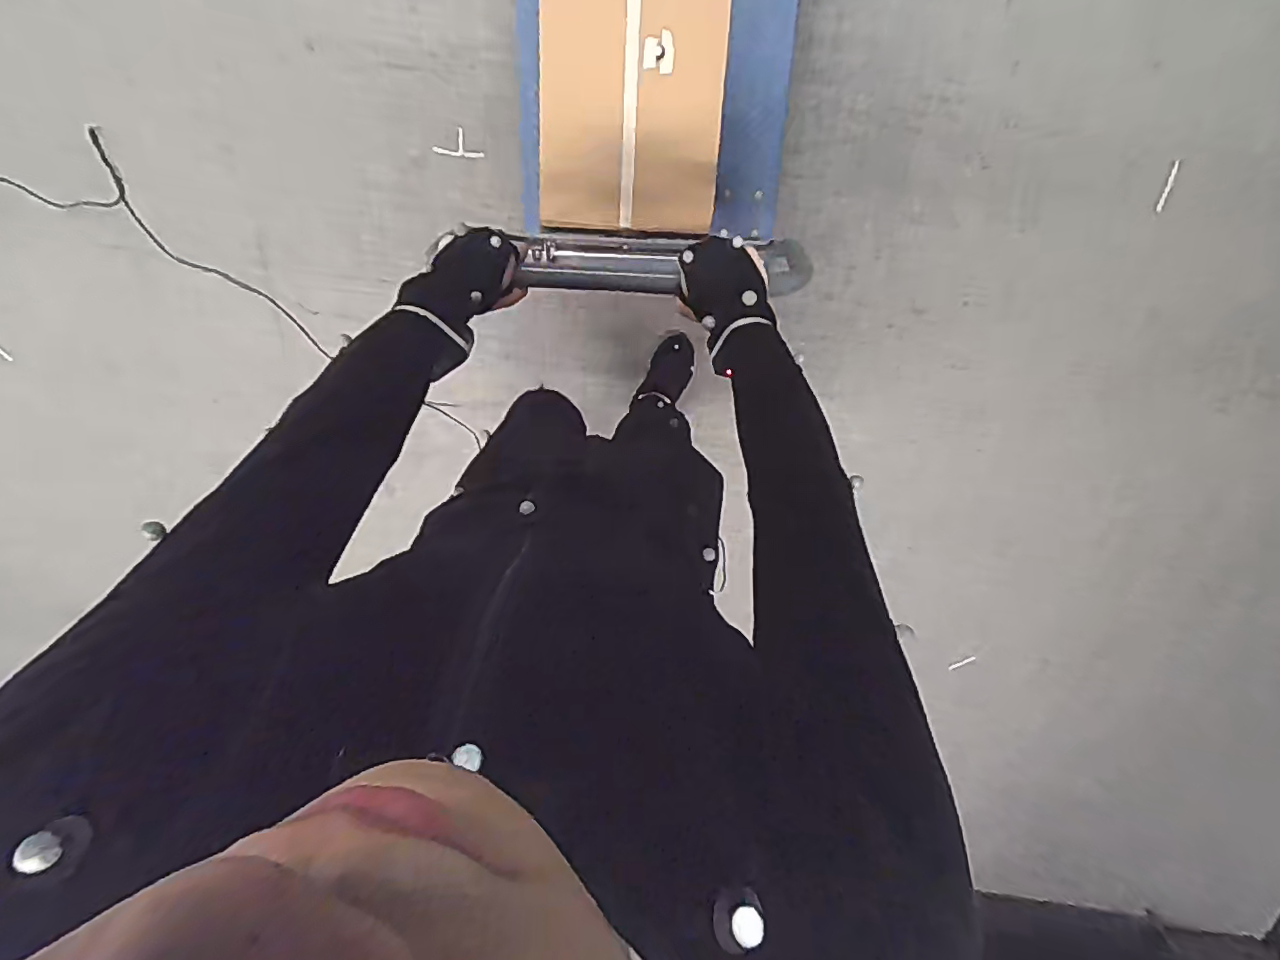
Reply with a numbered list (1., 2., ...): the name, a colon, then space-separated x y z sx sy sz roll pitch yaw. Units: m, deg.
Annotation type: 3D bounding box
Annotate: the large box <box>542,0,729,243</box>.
1. large box: -0.002 -0.702 1.067 0.320 0.320 0.408 4 108 3
